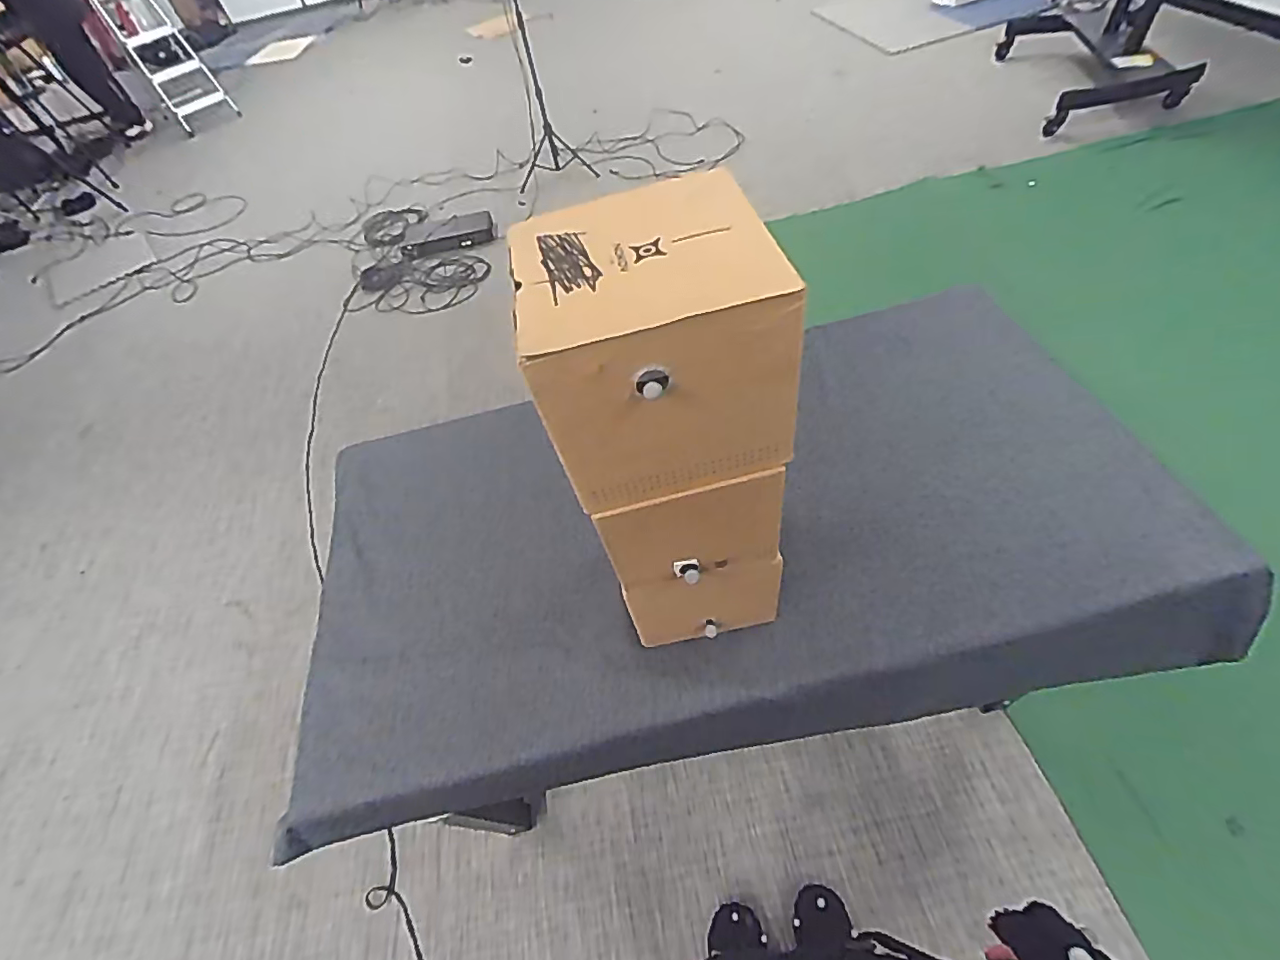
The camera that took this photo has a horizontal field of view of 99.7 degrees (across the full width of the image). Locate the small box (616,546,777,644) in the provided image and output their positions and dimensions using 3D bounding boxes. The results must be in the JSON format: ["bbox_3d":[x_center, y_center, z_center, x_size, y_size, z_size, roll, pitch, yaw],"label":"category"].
[{"bbox_3d":[0.060,0.091,0.690,0.179,0.176,0.168,-12,52,0],"label":"small box"}]

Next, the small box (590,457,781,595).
[{"bbox_3d":[0.035,-0.007,0.563,0.168,0.176,0.179,-15,54,1],"label":"small box"}]

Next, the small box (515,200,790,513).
[{"bbox_3d":[0.010,-0.092,0.445,0.179,0.176,0.168,-14,53,1],"label":"small box"}]
